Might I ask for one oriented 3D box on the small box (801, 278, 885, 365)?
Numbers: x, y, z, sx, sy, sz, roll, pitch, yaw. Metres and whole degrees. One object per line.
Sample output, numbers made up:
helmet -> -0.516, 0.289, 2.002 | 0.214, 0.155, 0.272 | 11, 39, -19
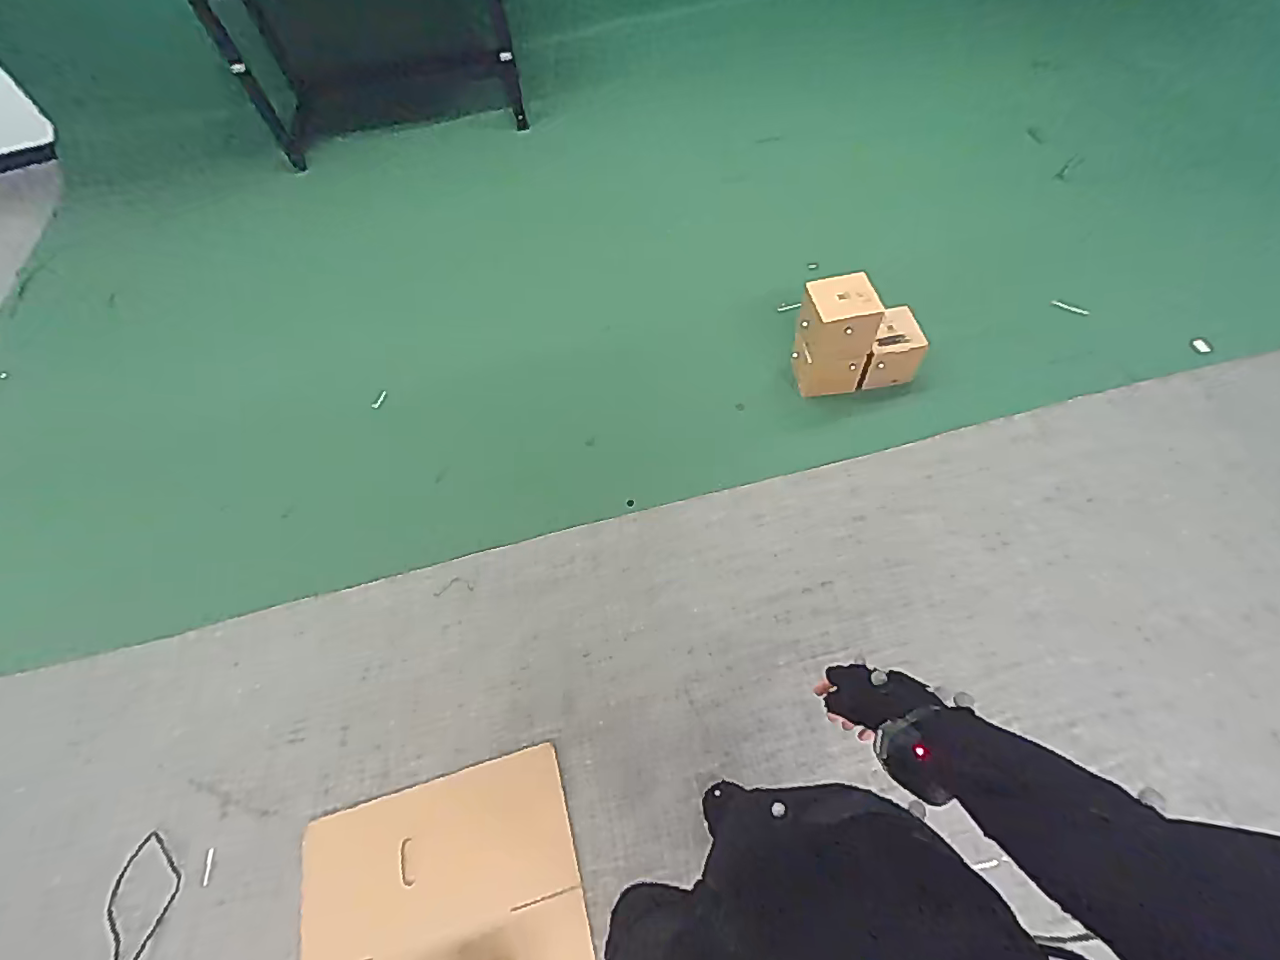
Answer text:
small box -> 0.581, -0.457, 1.578 | 0.179, 0.176, 0.168 | -10, 59, 0
